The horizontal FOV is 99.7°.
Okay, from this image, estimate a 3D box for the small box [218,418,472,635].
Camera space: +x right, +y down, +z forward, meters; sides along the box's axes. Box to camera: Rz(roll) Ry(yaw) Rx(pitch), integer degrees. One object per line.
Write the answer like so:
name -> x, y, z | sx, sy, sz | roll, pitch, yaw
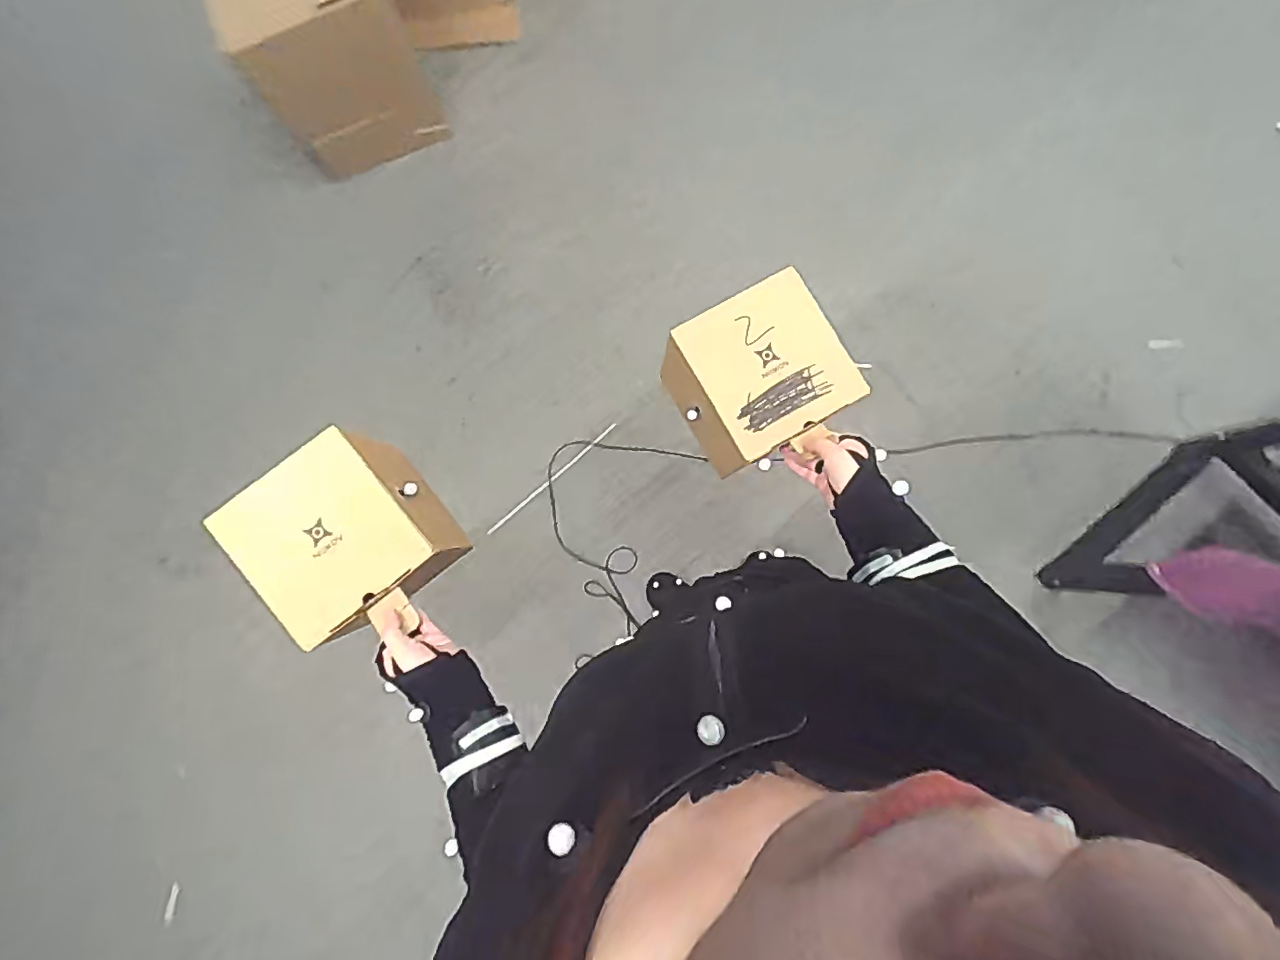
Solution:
small box -> -0.333, 0.054, 0.650 | 0.168, 0.176, 0.179 | -38, 89, -5
